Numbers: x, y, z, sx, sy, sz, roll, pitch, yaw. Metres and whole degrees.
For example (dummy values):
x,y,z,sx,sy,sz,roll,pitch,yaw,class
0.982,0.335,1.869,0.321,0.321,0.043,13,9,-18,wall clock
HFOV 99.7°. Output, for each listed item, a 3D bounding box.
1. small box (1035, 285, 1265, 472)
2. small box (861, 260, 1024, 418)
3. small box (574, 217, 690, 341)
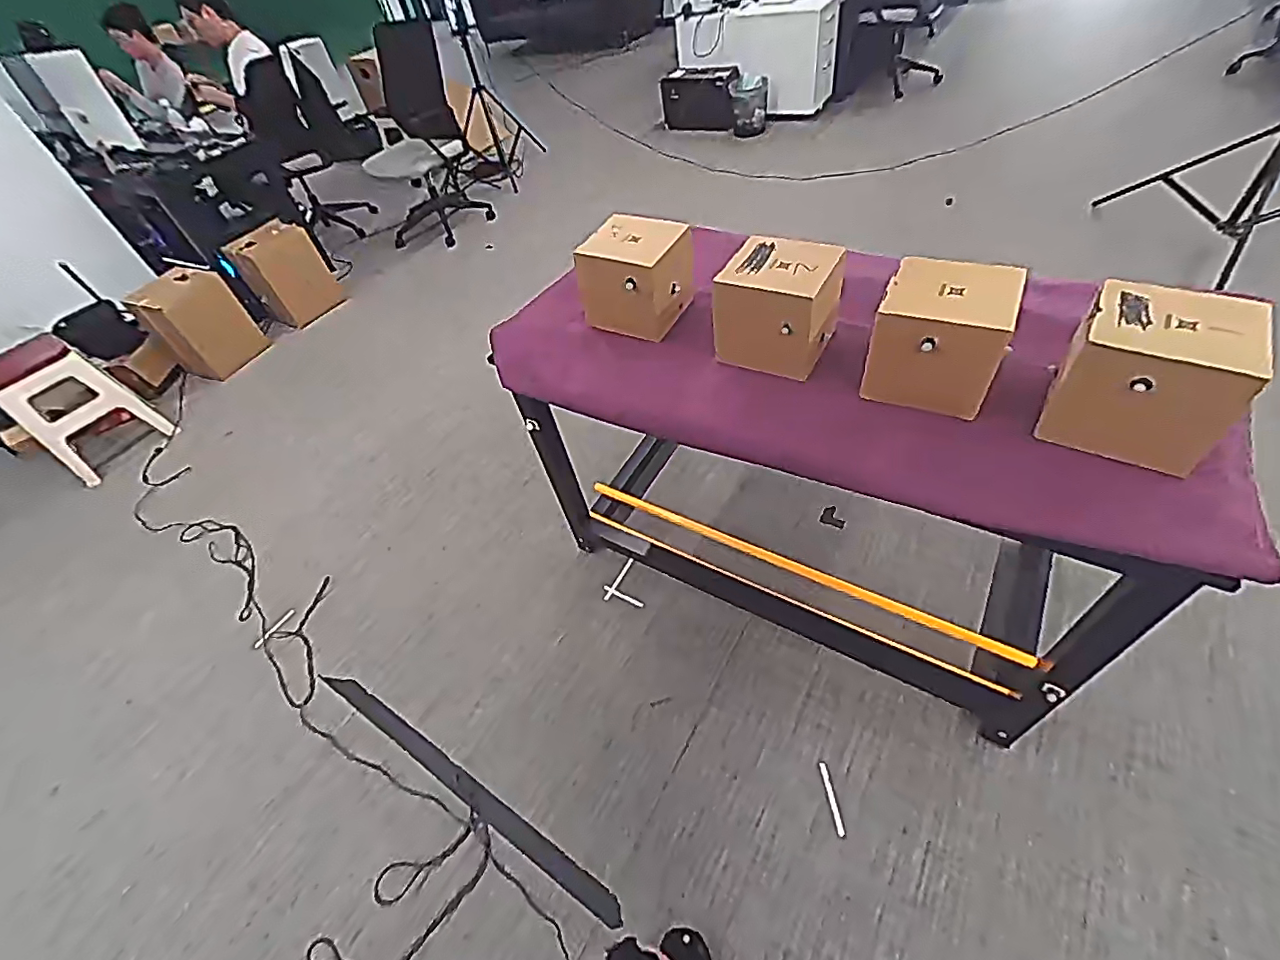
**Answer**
x,y,z,sx,sy,sz,roll,pitch,yaw,class
0.679,-0.138,0.737,0.179,0.176,0.168,24,57,28,small box
0.470,-0.221,0.858,0.179,0.176,0.168,18,55,25,small box
-0.006,-0.408,1.108,0.179,0.176,0.168,19,55,23,small box
